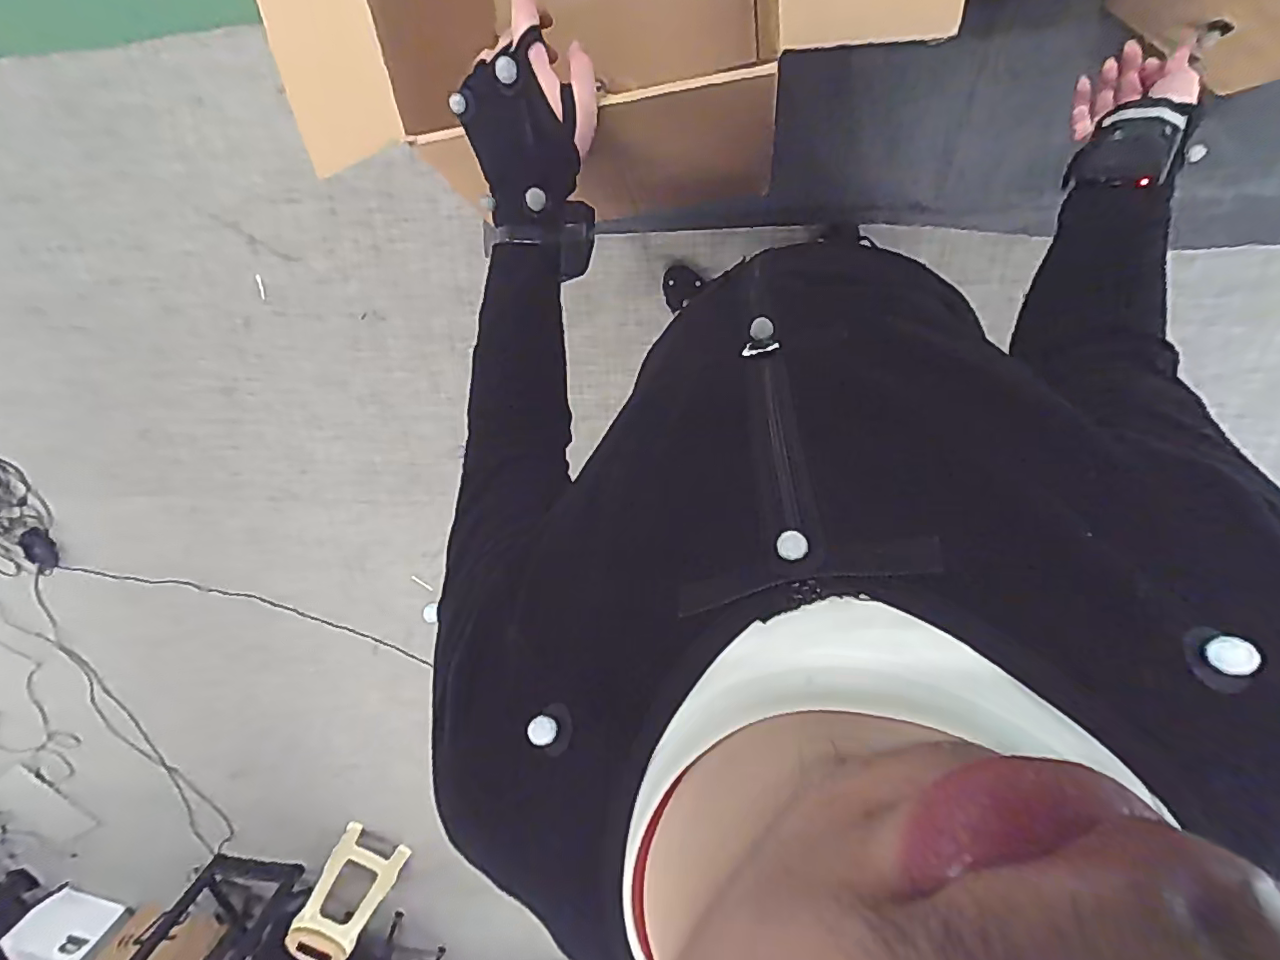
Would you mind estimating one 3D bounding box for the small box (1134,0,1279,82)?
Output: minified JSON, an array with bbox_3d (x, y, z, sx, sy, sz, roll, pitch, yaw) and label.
[{"bbox_3d":[0.588,-0.489,0.464,0.168,0.176,0.179,34,118,-5],"label":"small box"}]
